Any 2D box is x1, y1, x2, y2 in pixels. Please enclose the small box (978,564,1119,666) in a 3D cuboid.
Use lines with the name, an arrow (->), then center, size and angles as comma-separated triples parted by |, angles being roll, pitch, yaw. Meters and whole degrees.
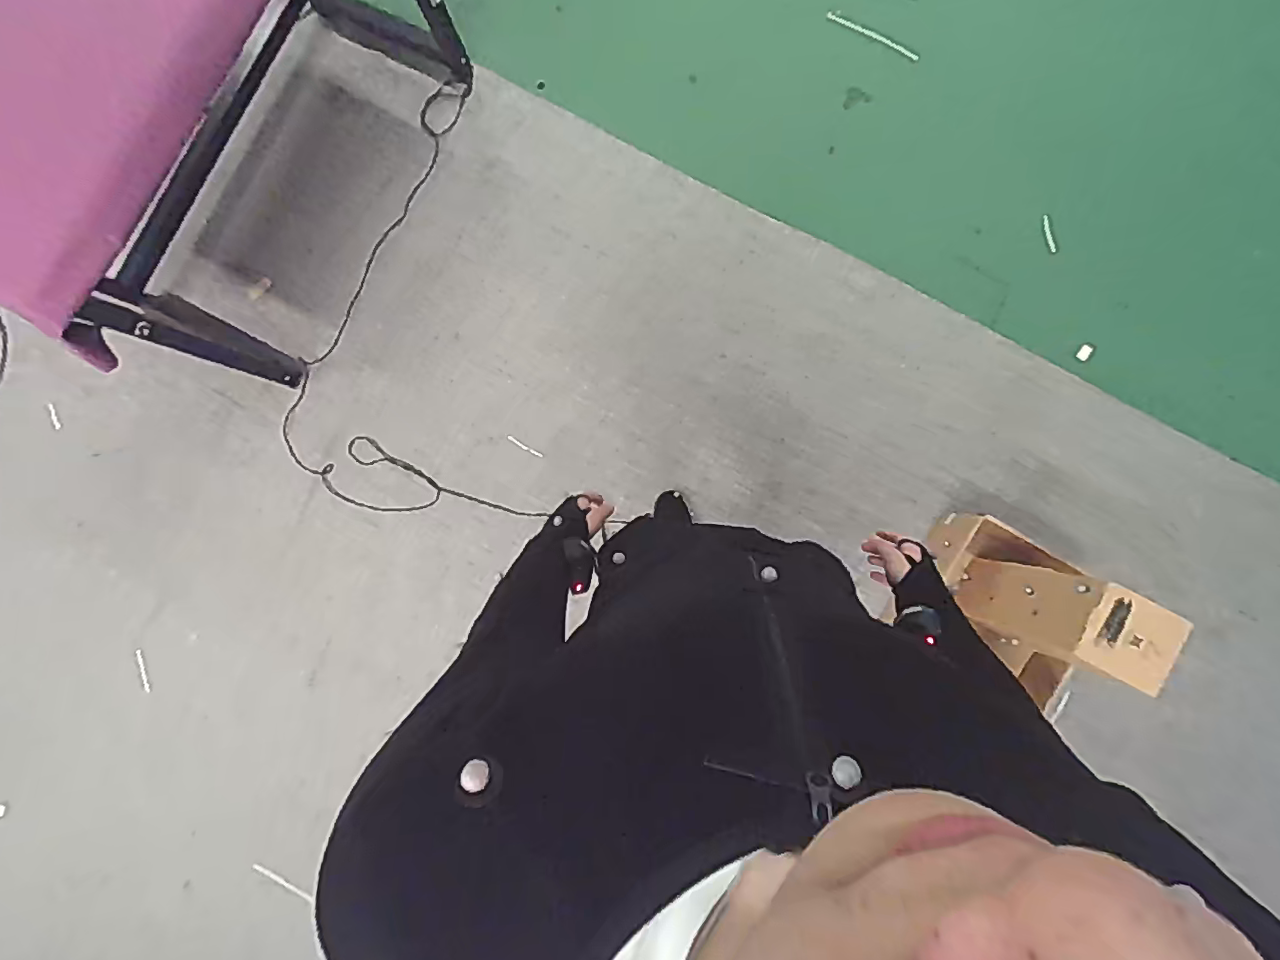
small box -> 0.968, 0.312, 1.296 | 0.179, 0.176, 0.168 | 28, 87, 3
